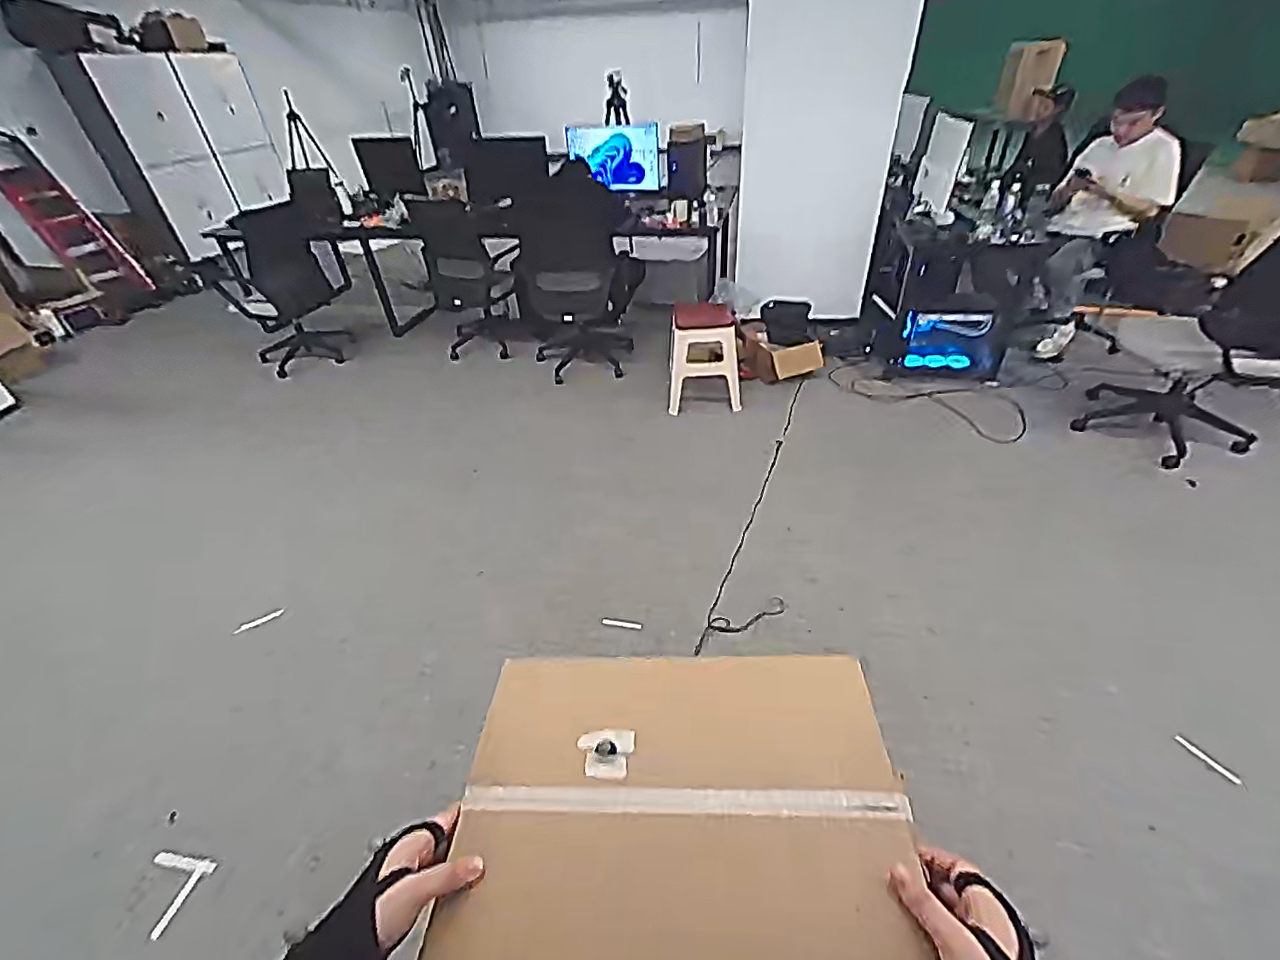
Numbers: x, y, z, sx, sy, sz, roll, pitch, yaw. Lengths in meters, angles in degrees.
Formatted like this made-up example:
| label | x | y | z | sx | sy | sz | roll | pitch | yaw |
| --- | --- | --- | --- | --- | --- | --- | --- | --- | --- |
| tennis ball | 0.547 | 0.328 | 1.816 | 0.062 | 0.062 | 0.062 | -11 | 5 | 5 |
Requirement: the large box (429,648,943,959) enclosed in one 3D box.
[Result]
| label | x | y | z | sx | sy | sz | roll | pitch | yaw |
| --- | --- | --- | --- | --- | --- | --- | --- | --- | --- |
| large box | 0.053 | 0.415 | 0.597 | 0.408 | 0.320 | 0.320 | -4 | 36 | 8 |
